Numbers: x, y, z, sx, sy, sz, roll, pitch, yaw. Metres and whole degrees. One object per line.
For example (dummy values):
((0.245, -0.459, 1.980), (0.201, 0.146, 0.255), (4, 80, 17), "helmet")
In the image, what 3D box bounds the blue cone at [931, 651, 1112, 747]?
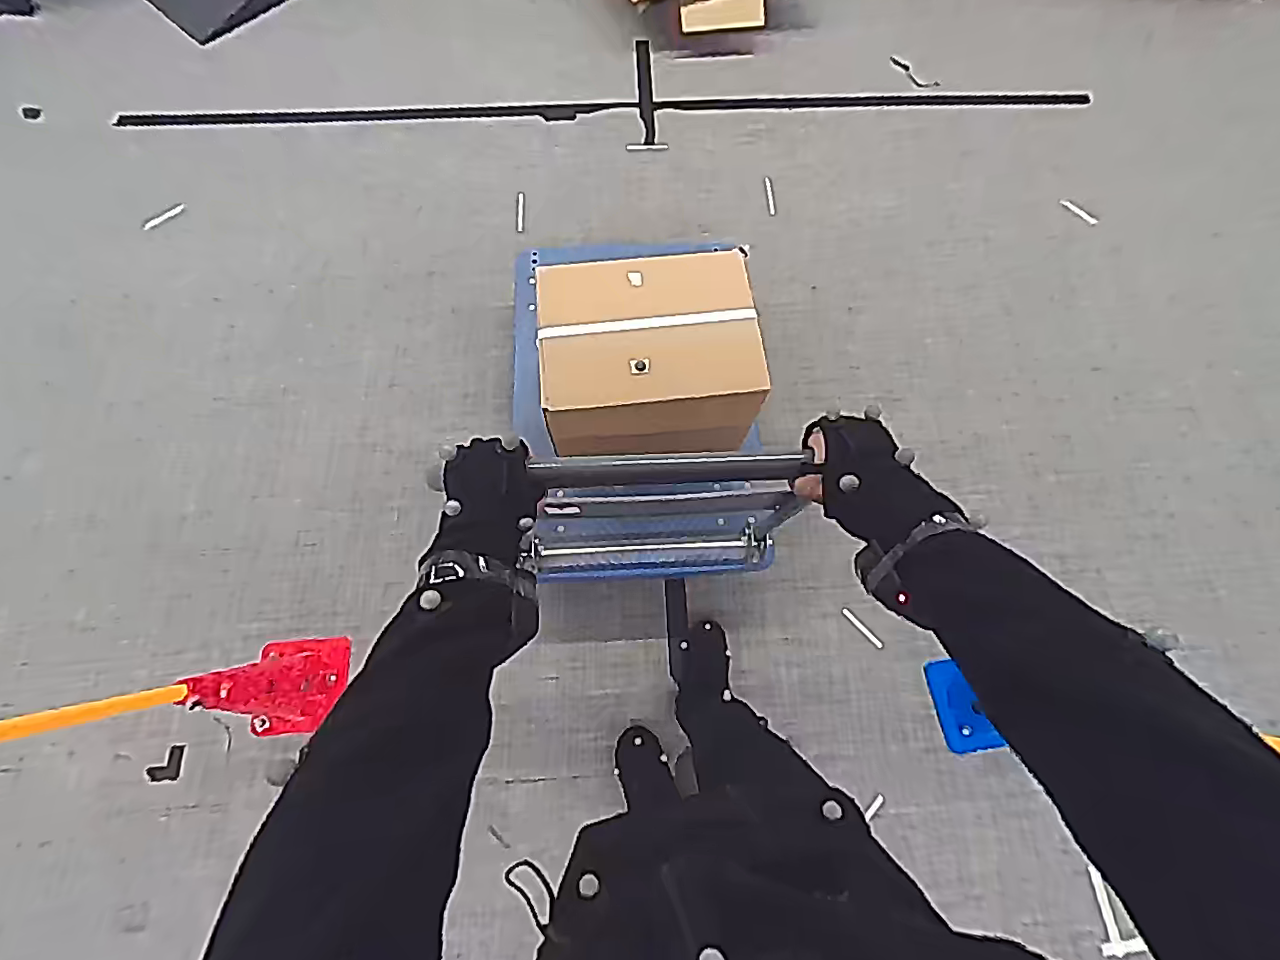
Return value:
((0.788, 0.447, 1.094), (0.193, 0.380, 0.192), (-6, 70, -4), "blue cone")
